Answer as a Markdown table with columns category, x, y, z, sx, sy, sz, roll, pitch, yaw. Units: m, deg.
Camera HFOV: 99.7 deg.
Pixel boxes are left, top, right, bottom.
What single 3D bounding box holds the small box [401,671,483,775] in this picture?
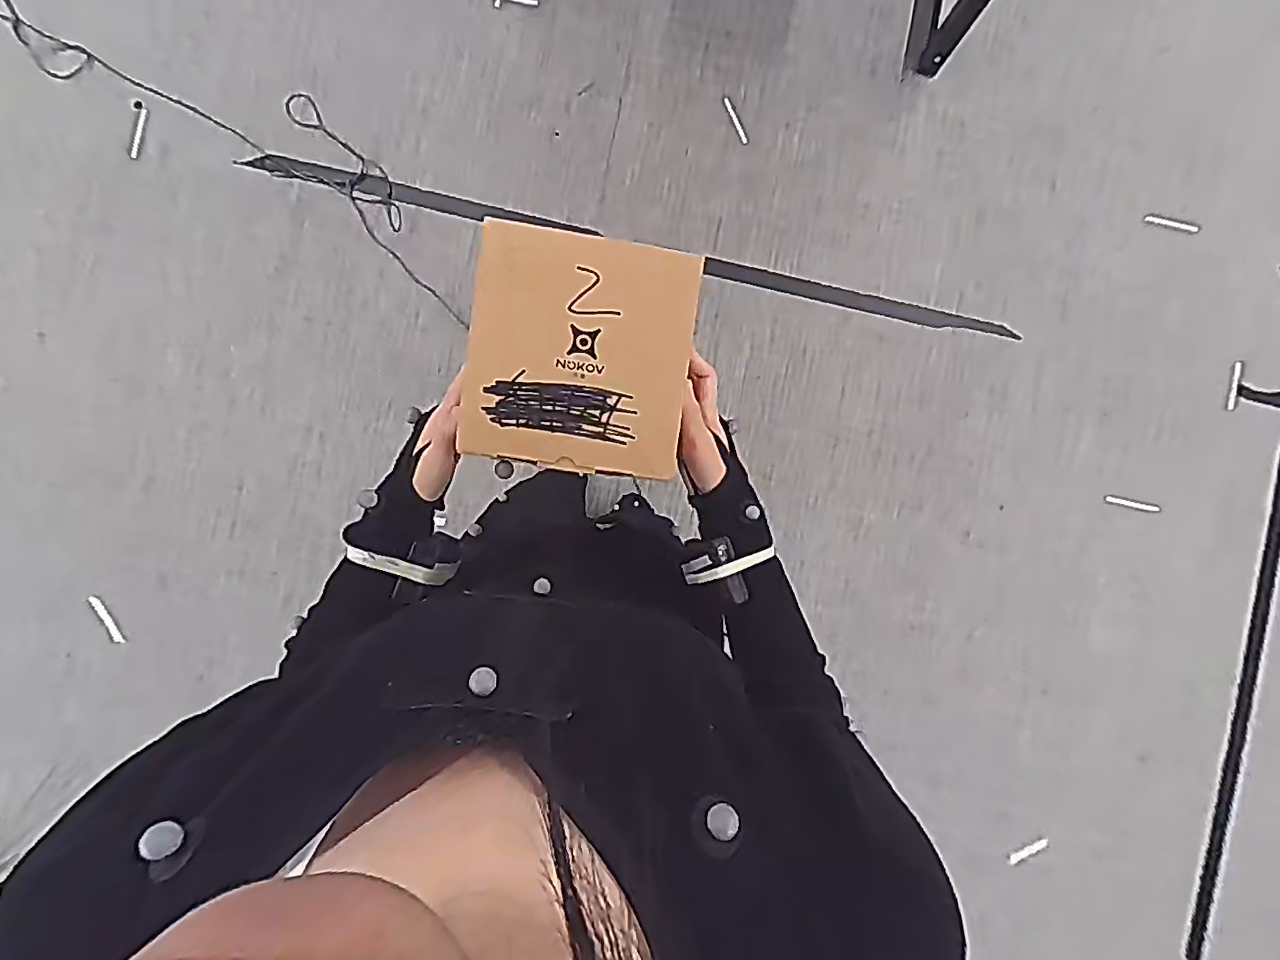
| category | x | y | z | sx | sy | sz | roll | pitch | yaw |
| --- | --- | --- | --- | --- | --- | --- | --- | --- | --- |
| small box | -0.515 | 0.614 | 1.383 | 0.168 | 0.176 | 0.179 | 11 | 88 | -2 |

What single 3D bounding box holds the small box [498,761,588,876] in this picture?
| category | x | y | z | sx | sy | sz | roll | pitch | yaw |
| --- | --- | --- | --- | --- | --- | --- | --- | --- | --- |
| small box | -0.240 | 0.856 | 1.385 | 0.179 | 0.176 | 0.168 | 20 | 88 | -3 |
